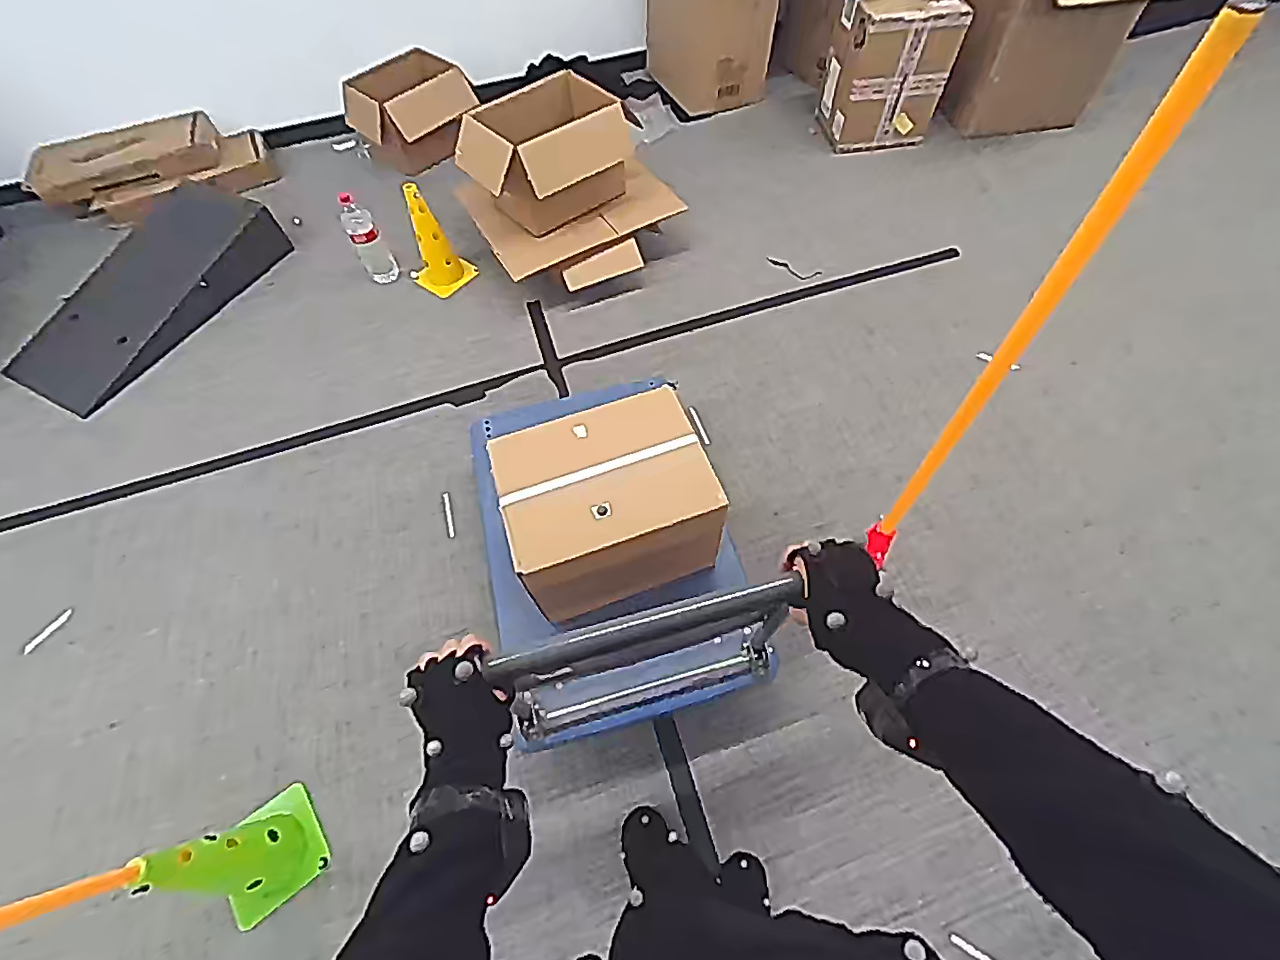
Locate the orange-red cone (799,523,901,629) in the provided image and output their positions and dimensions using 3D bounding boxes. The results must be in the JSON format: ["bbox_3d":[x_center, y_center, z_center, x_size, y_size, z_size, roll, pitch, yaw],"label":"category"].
[{"bbox_3d":[0.523,0.191,1.256,0.199,0.360,0.198,-11,60,-4],"label":"orange-red cone"}]
